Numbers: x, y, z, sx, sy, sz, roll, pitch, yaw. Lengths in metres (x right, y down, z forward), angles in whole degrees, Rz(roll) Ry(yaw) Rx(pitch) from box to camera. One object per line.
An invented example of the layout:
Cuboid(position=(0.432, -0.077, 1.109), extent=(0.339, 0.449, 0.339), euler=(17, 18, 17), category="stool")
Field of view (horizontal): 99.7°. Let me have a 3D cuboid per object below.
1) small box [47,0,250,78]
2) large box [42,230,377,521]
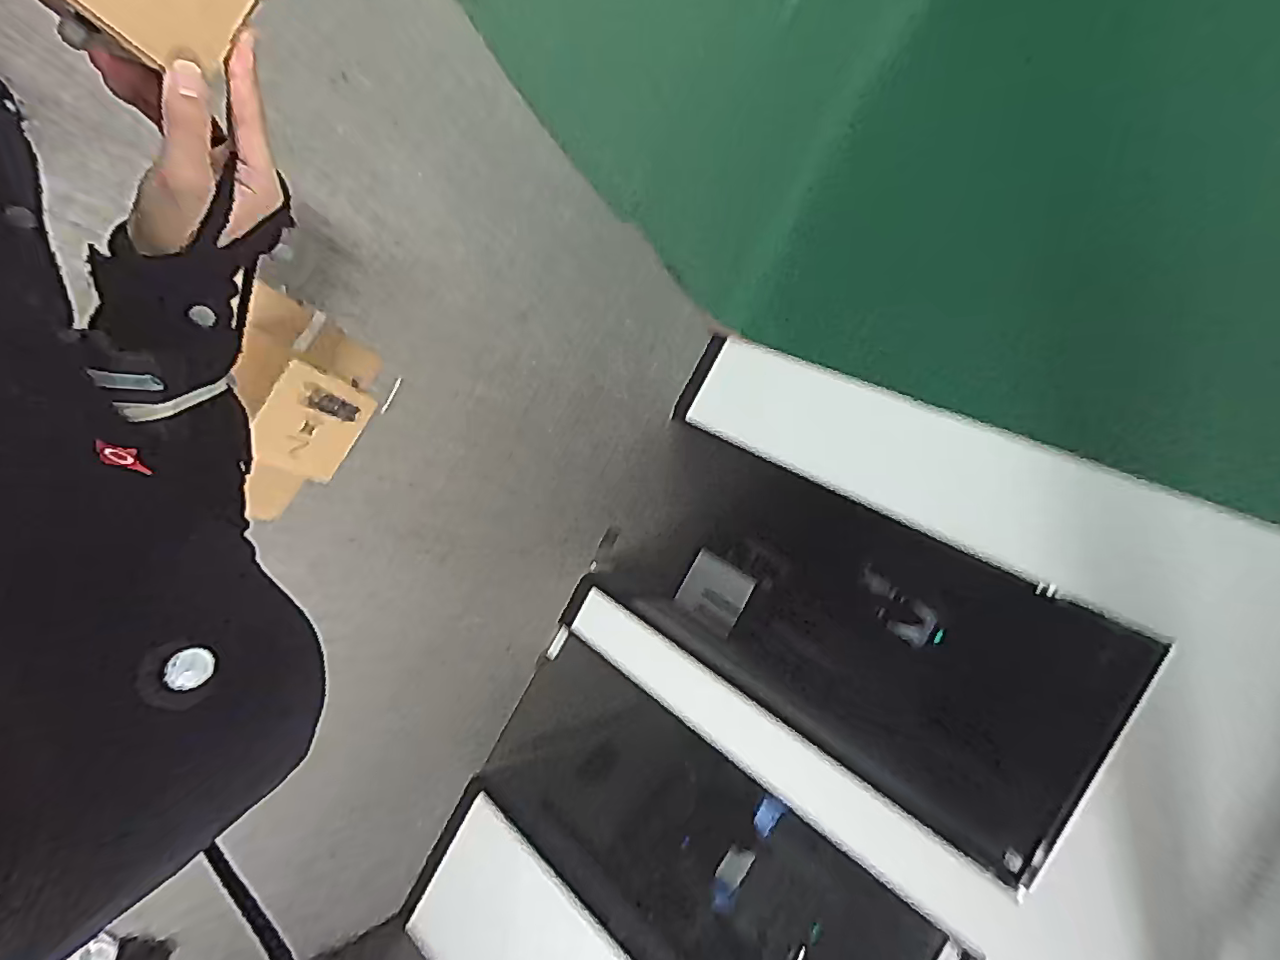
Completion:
Cuboid(position=(-0.272, -0.324, 0.229), extent=(0.168, 0.176, 0.179), euler=(-56, 154, 3), category="small box")
Cuboid(position=(-0.815, -0.193, 1.050), extent=(0.408, 0.320, 0.320), euler=(-57, 150, -4), category="large box")
